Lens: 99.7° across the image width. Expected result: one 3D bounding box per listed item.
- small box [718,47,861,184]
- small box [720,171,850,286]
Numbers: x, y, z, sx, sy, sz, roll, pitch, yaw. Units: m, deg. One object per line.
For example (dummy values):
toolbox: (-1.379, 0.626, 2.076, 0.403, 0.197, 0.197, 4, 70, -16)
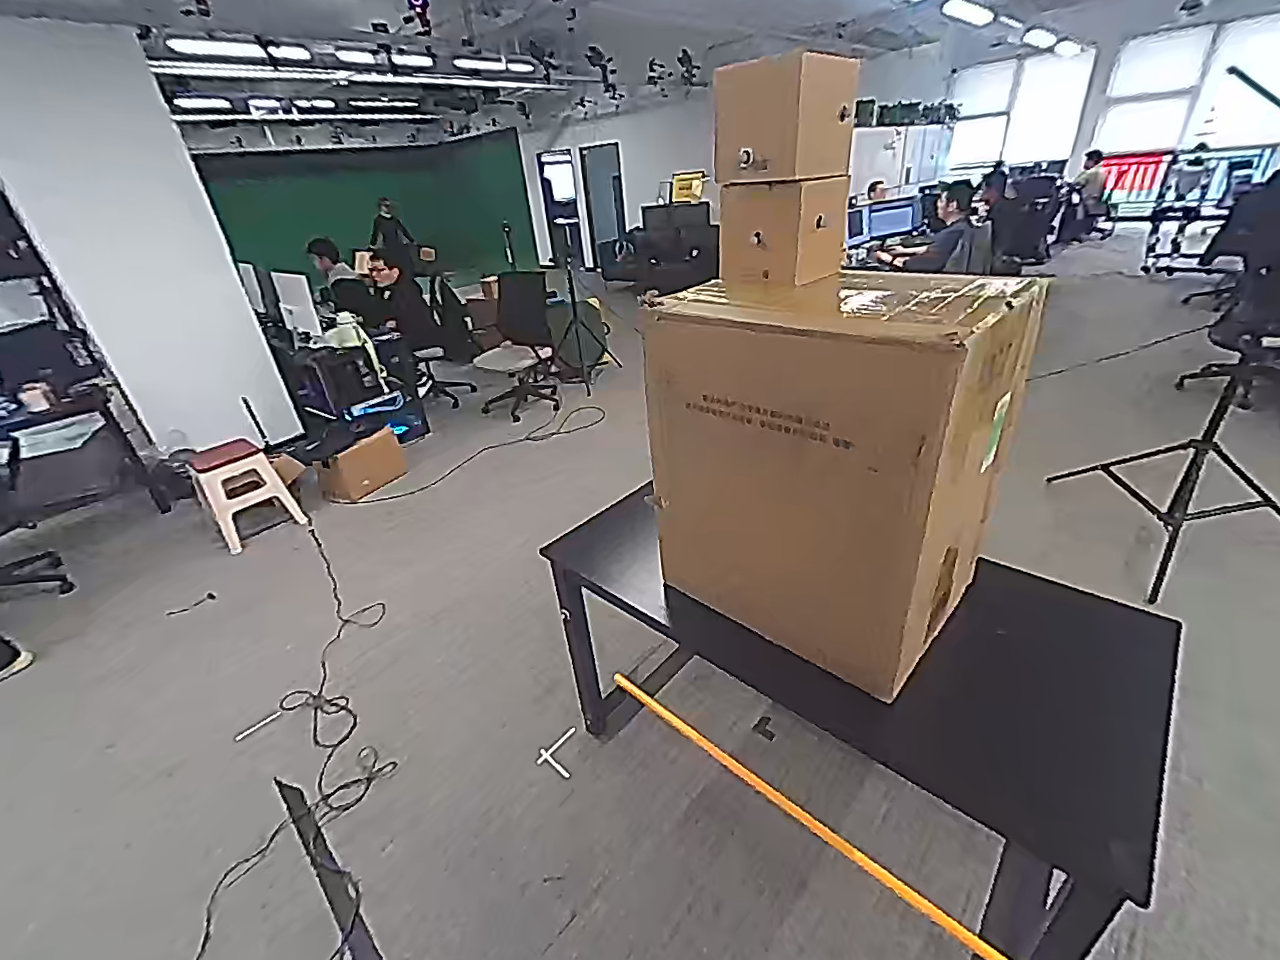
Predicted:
small box: (0.245, -0.598, 0.907, 0.179, 0.176, 0.168, -29, 37, -36)
small box: (0.266, -0.463, 0.998, 0.168, 0.176, 0.179, 22, 39, 38)
